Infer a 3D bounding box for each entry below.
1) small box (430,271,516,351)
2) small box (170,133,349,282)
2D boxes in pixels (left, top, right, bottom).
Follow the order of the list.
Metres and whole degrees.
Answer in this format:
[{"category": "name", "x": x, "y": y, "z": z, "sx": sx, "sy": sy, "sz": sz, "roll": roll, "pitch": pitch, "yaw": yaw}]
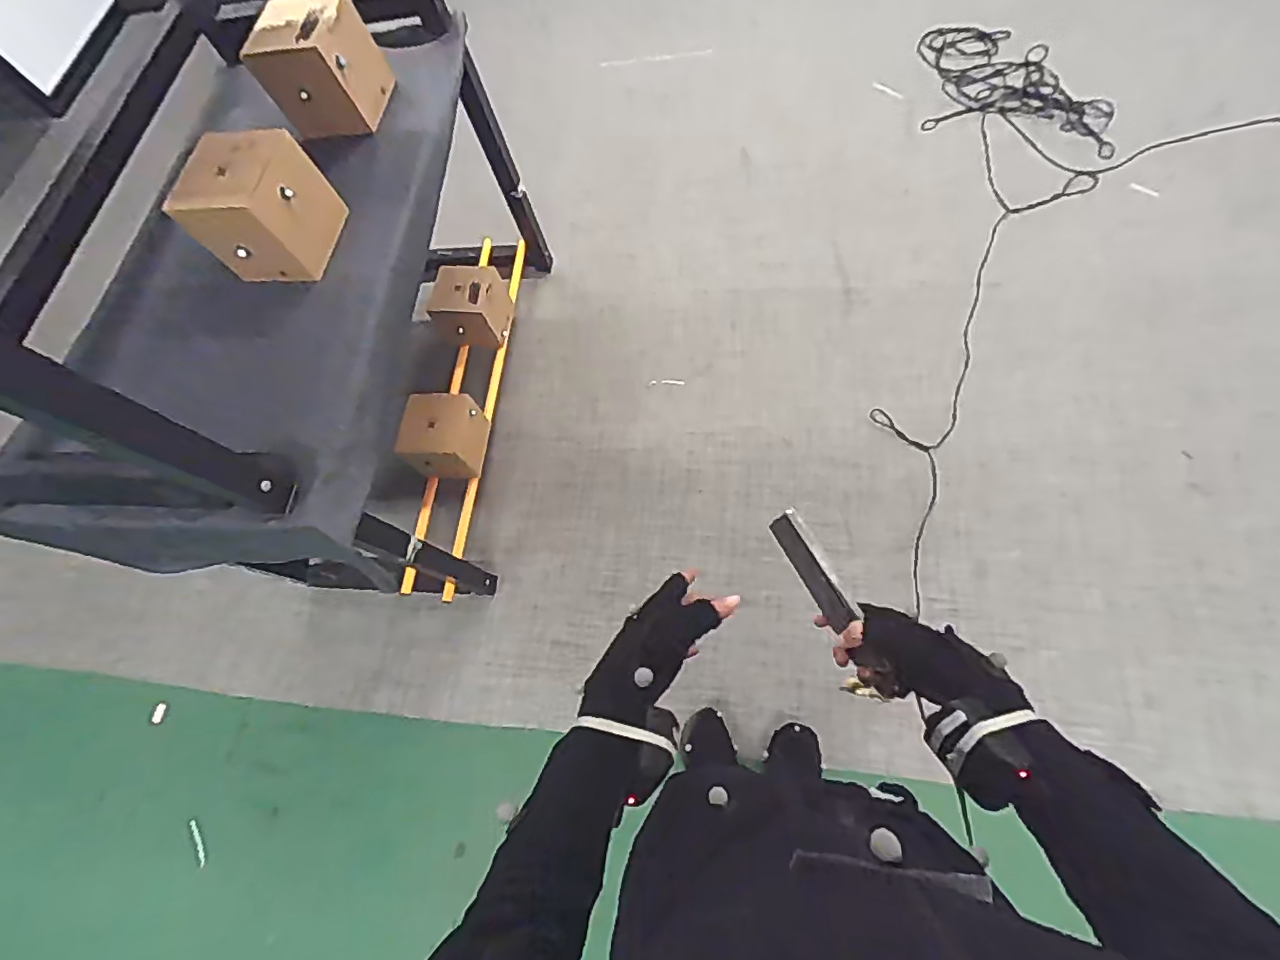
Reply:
[{"category": "small box", "x": -0.491, "y": -0.503, "z": 1.623, "sx": 0.179, "sy": 0.176, "sz": 0.168, "roll": 5, "pitch": 69, "yaw": 11}, {"category": "small box", "x": -0.656, "y": -0.471, "z": 0.957, "sx": 0.168, "sy": 0.176, "sz": 0.179, "roll": 4, "pitch": 69, "yaw": 11}]
